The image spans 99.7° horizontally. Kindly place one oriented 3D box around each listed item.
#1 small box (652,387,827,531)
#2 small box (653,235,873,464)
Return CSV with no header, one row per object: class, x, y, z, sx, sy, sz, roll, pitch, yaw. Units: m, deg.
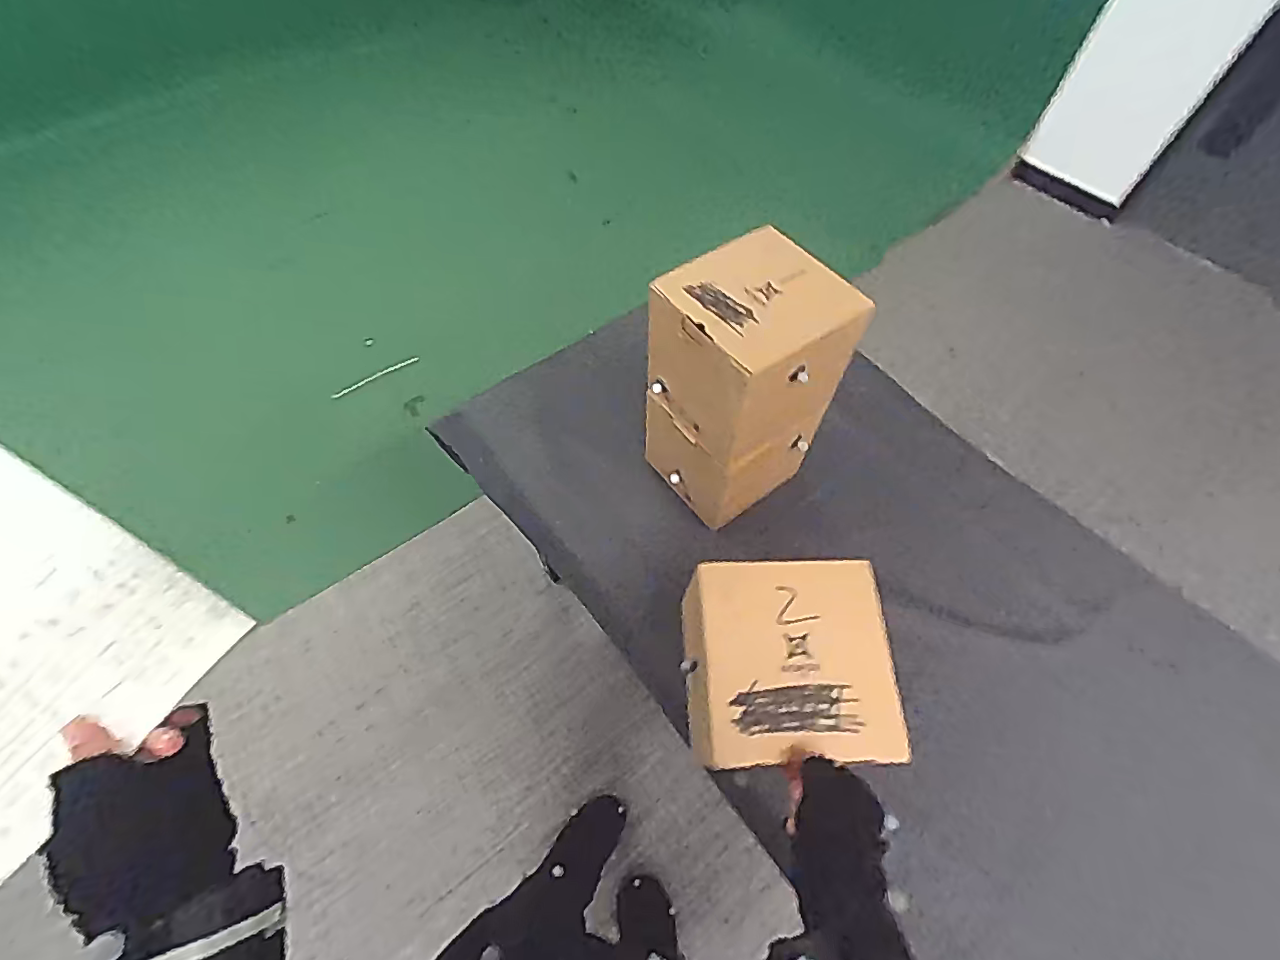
small box,0.129,-0.059,0.781,0.179,0.176,0.168,-32,63,-19
small box,0.131,-0.149,0.643,0.179,0.176,0.168,-31,64,-19
